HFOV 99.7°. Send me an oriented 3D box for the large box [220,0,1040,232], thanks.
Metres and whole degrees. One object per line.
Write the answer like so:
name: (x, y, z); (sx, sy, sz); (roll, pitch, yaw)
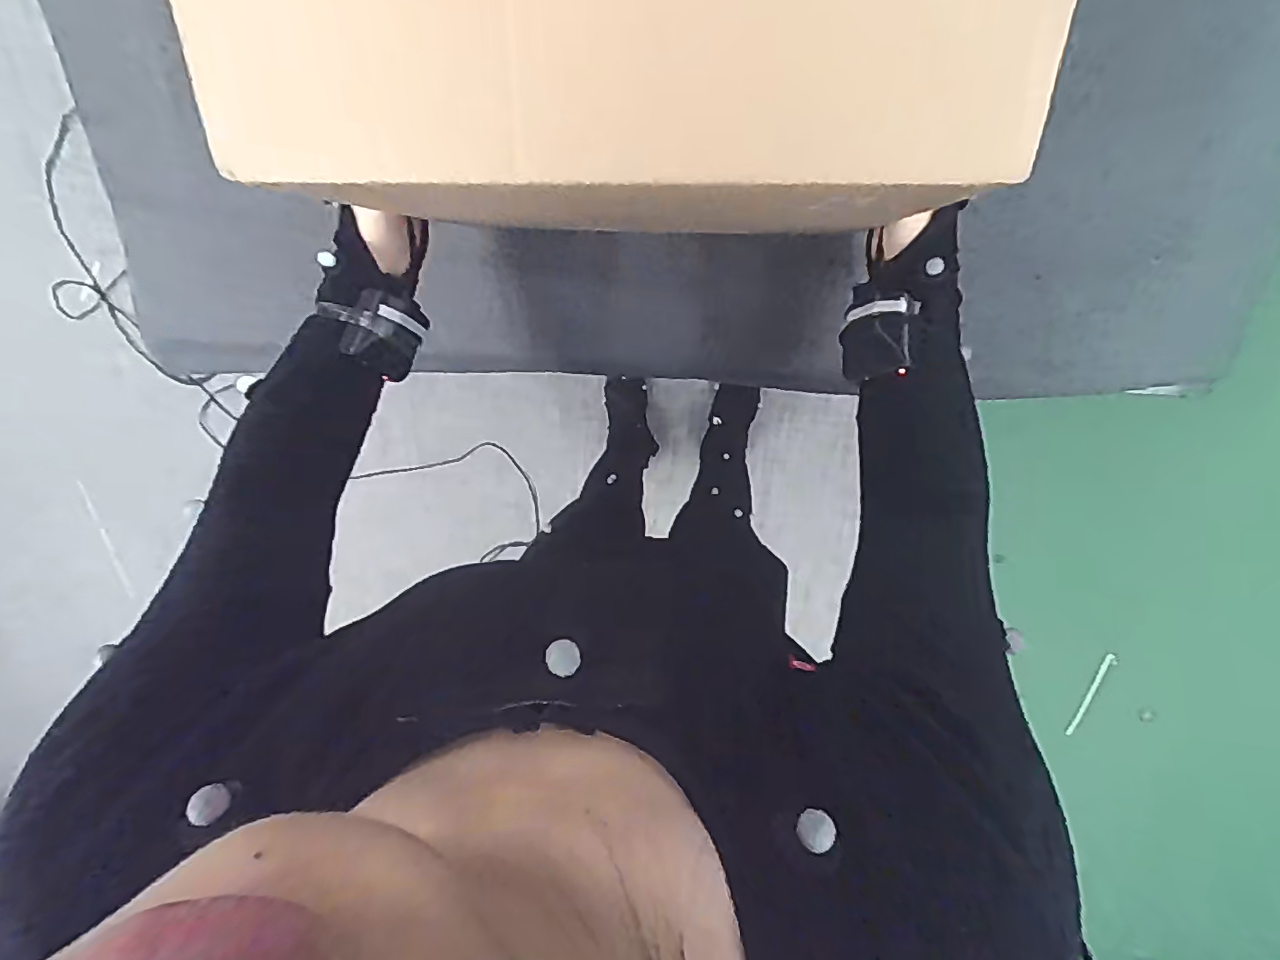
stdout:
large box: (-0.001, -0.353, 0.371); (0.408, 0.320, 0.320); (3, 112, 6)
